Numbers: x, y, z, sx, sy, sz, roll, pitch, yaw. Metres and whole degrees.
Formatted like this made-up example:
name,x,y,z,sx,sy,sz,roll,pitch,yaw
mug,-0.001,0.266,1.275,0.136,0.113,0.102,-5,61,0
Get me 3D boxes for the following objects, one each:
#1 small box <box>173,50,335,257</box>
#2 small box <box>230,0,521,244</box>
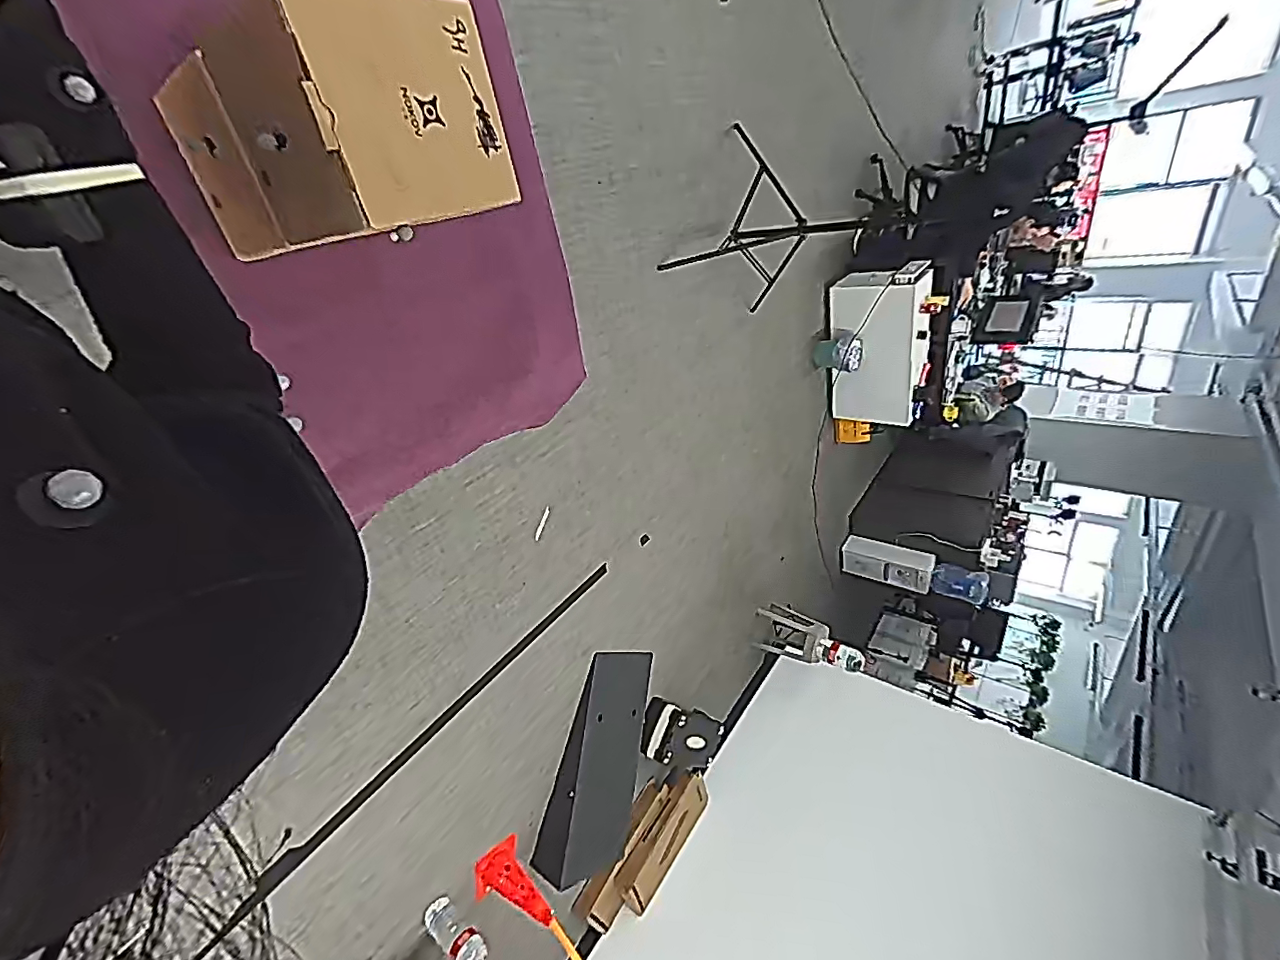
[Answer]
name,x,y,z,sx,sy,sz,roll,pitch,yaw
small box,-0.382,-0.361,0.614,0.179,0.176,0.168,-40,129,-40
small box,-0.251,-0.334,0.518,0.179,0.176,0.168,-38,128,-40
